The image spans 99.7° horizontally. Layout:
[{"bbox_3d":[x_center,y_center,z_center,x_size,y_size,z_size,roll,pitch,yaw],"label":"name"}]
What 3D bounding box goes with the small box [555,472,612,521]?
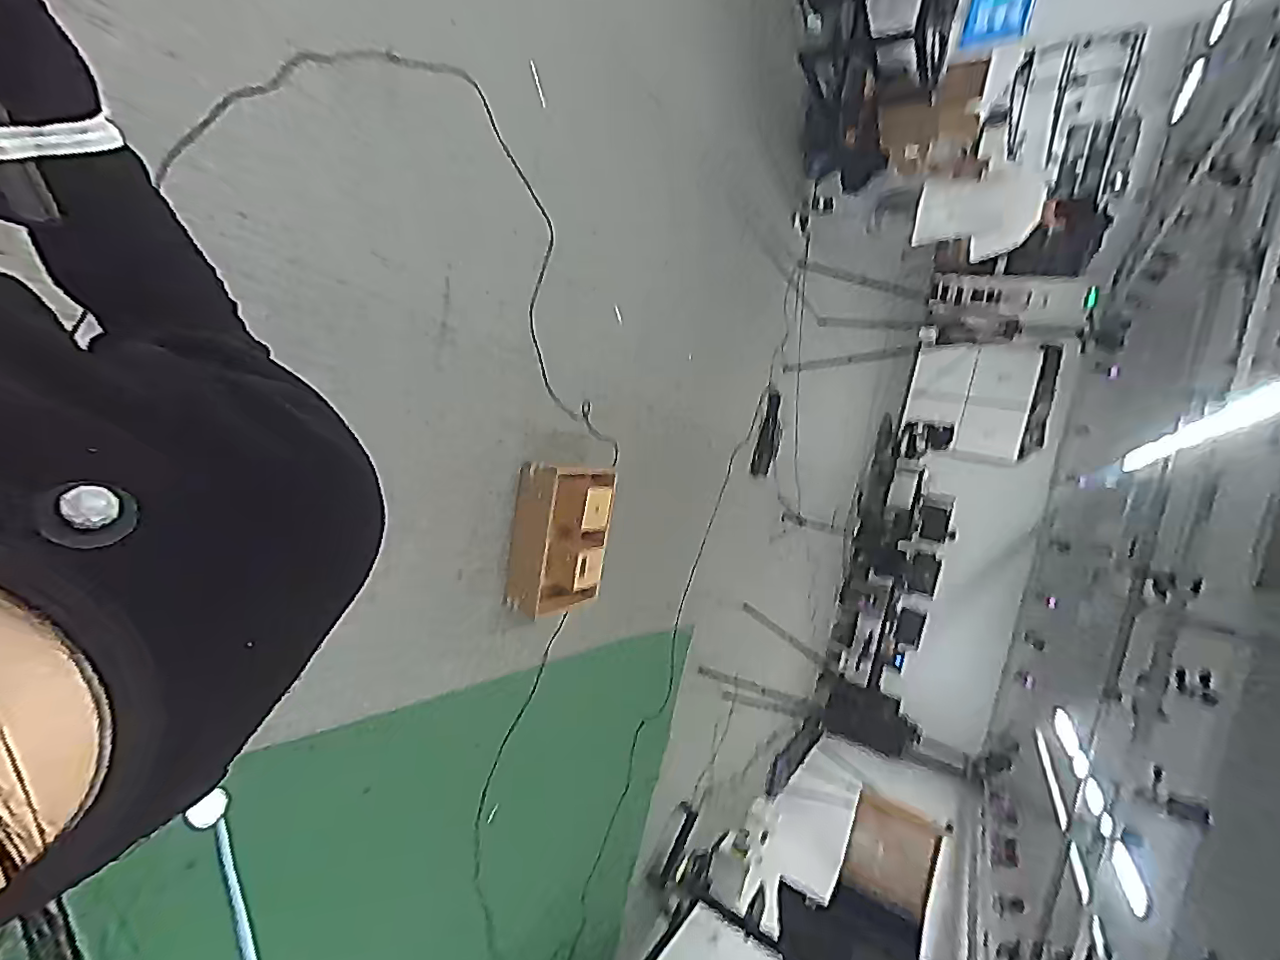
[{"bbox_3d":[-0.246,0.066,2.320,0.168,0.176,0.179,-2,105,-55],"label":"small box"}]
